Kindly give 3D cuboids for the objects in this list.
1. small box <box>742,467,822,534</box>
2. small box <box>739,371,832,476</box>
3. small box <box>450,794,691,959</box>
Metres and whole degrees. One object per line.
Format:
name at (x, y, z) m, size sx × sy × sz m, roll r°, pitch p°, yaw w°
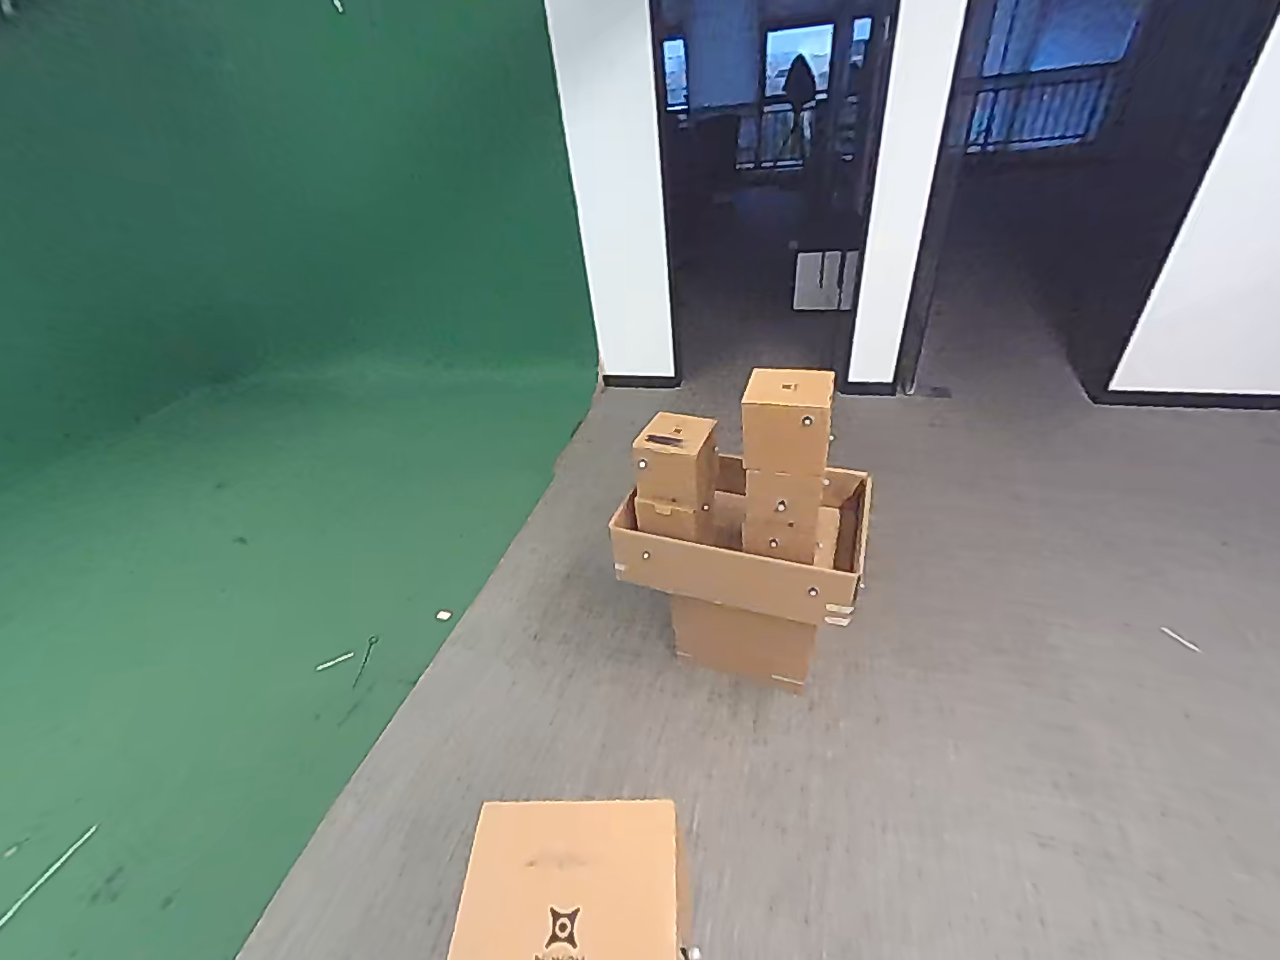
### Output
small box at (0.341, 0.006, 1.285) m, size 0.168 × 0.176 × 0.179 m, roll 7°, pitch 39°, yaw 18°
small box at (0.318, -0.125, 1.188) m, size 0.179 × 0.176 × 0.168 m, roll 7°, pitch 38°, yaw 18°
small box at (-0.044, 0.384, 0.446) m, size 0.168 × 0.176 × 0.179 m, roll -3°, pitch 42°, yaw 7°
